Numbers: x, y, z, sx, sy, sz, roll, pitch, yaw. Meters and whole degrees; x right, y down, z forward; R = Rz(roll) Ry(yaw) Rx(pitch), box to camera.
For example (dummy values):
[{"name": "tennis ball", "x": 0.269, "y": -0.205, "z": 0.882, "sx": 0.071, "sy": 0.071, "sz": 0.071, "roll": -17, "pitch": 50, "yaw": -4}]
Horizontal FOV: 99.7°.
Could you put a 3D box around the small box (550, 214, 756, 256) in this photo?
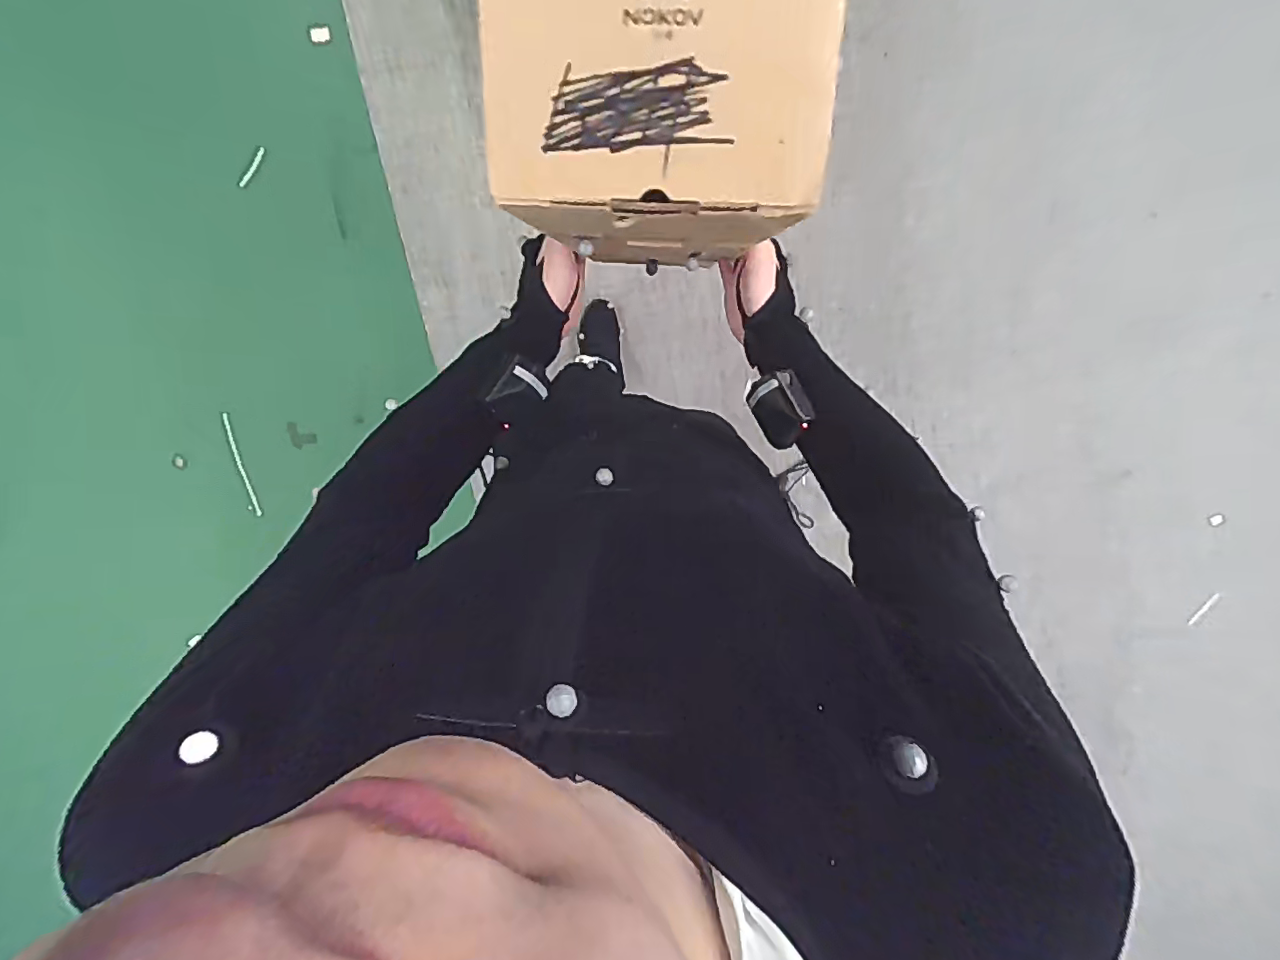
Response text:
[{"name": "small box", "x": 0.018, "y": -0.299, "z": 0.474, "sx": 0.168, "sy": 0.176, "sz": 0.179, "roll": 4, "pitch": 108, "yaw": 0}]

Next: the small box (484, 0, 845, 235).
[{"name": "small box", "x": 0.013, "y": -0.249, "z": 0.318, "sx": 0.168, "sy": 0.176, "sz": 0.179, "roll": 3, "pitch": 108, "yaw": 0}]
